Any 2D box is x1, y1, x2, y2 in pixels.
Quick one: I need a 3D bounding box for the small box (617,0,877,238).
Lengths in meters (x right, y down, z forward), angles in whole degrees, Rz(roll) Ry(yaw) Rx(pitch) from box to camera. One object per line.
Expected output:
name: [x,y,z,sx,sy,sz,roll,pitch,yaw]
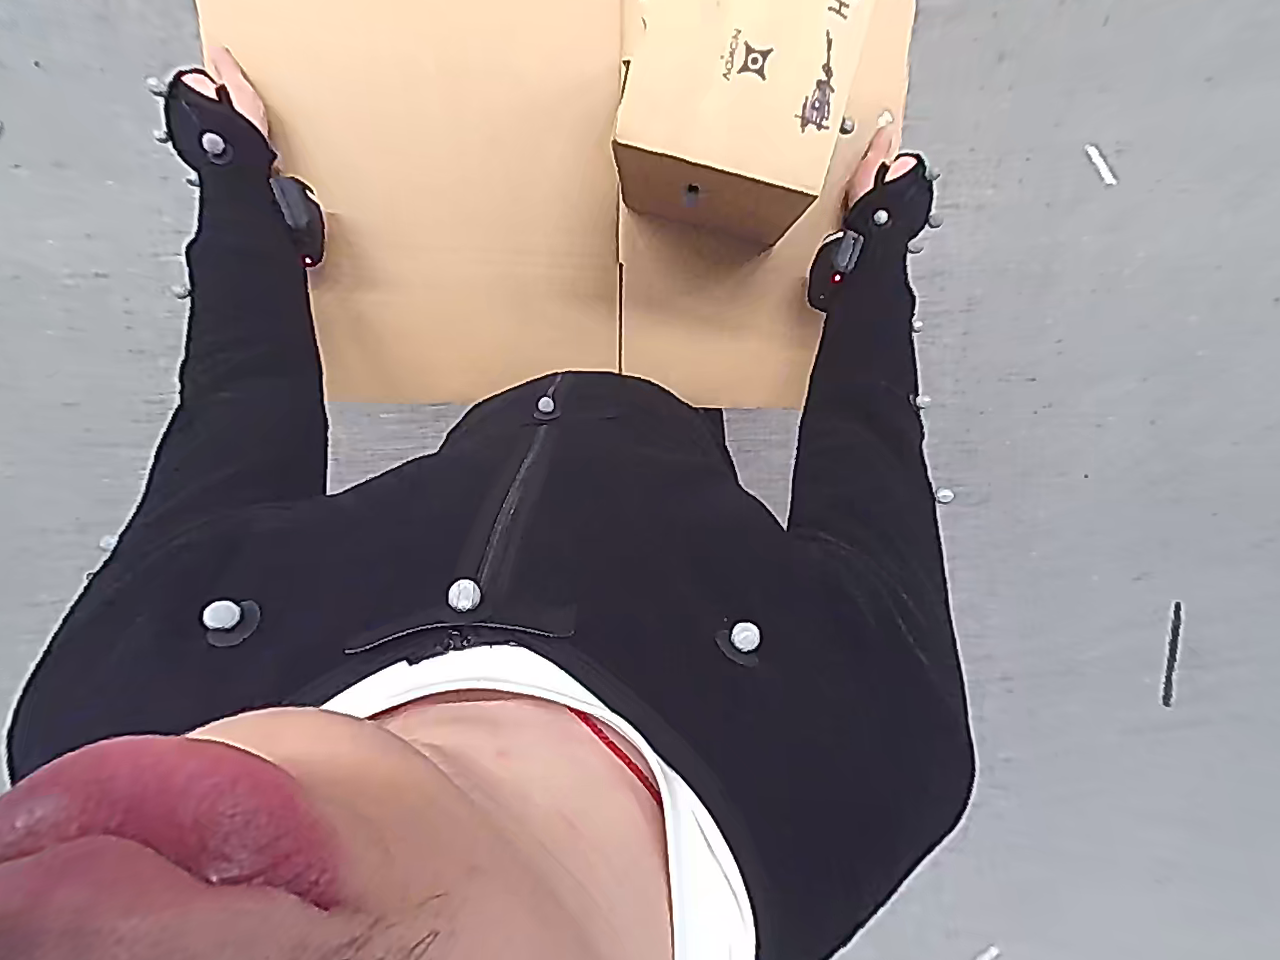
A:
small box: [0.088,-0.346,0.505,0.179,0.176,0.168,14,101,0]
